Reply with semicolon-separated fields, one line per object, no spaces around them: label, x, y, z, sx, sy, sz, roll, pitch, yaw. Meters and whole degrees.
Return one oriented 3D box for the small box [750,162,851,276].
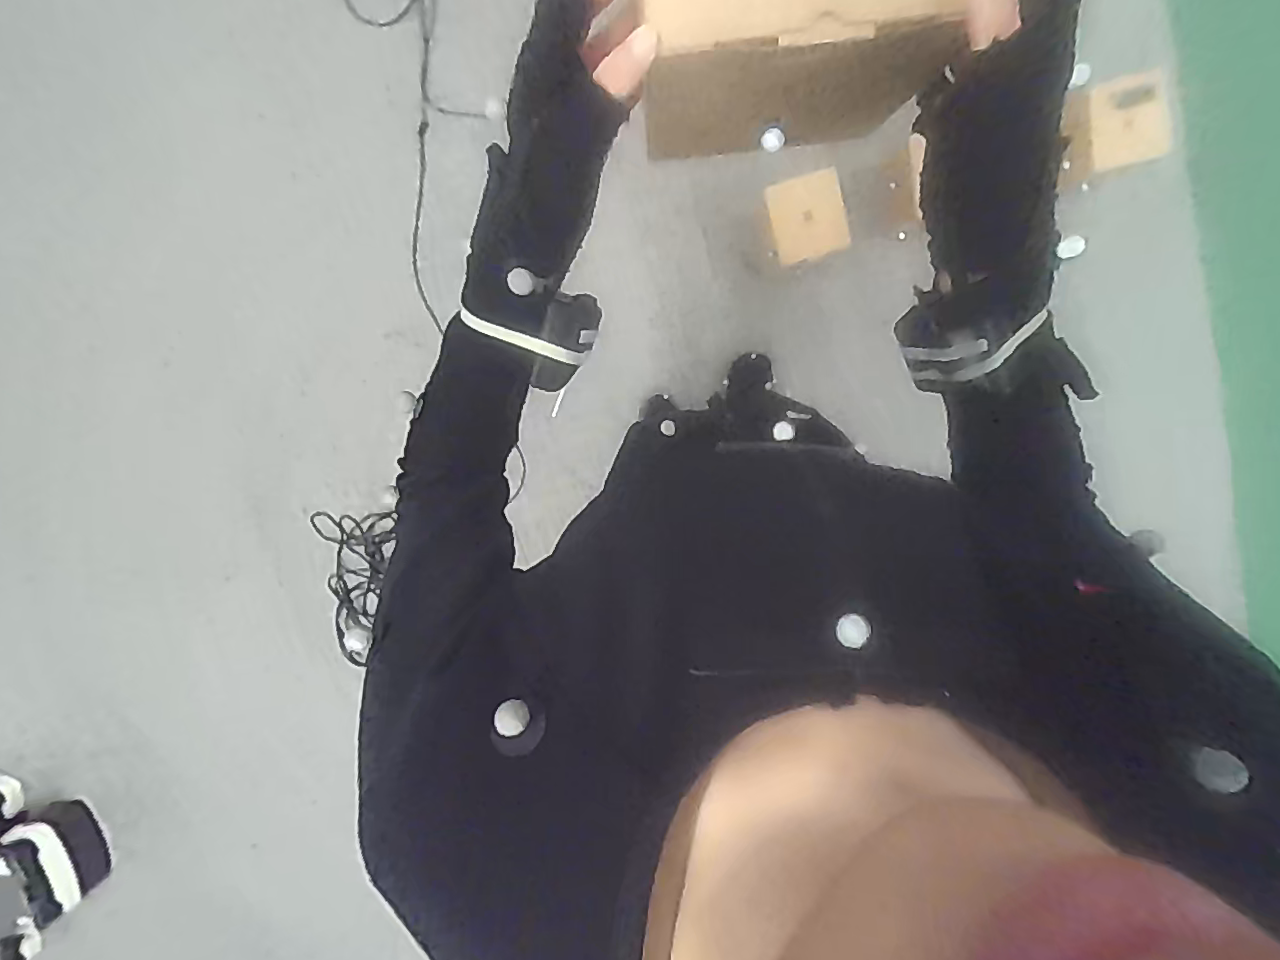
small box;0.370;-0.605;1.275;0.168;0.176;0.179;-17;100;4
